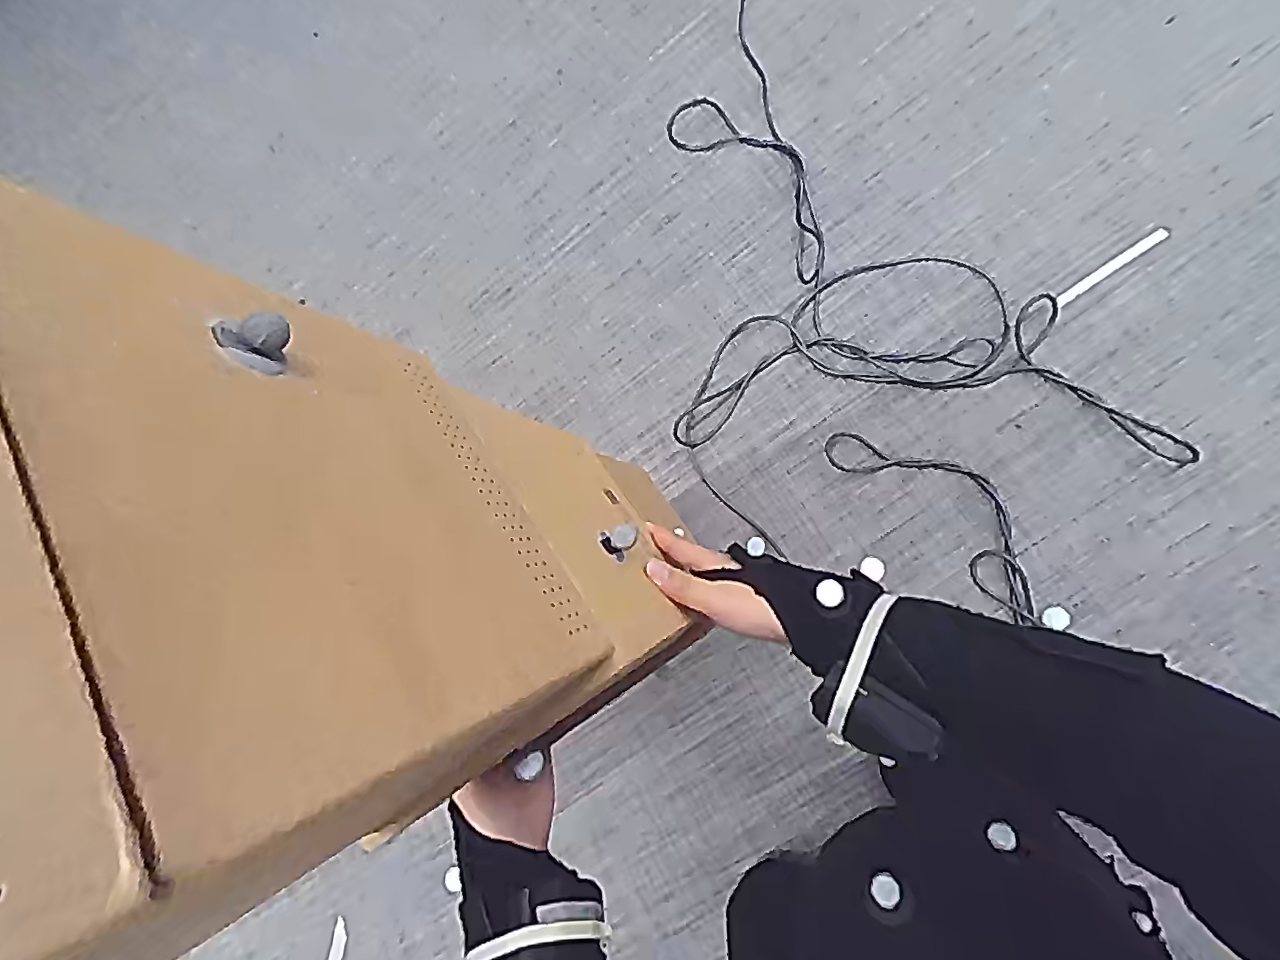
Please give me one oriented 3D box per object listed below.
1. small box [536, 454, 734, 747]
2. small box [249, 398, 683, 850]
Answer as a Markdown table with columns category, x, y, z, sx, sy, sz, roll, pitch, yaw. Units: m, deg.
| category | x | y | z | sx | sy | sz | roll | pitch | yaw |
| --- | --- | --- | --- | --- | --- | --- | --- | --- | --- |
| small box | -0.036 | 0.100 | 0.501 | 0.168 | 0.176 | 0.179 | -39 | 75 | 12 |
| small box | -0.089 | 0.077 | 0.349 | 0.179 | 0.176 | 0.168 | -40 | 74 | 13 |
